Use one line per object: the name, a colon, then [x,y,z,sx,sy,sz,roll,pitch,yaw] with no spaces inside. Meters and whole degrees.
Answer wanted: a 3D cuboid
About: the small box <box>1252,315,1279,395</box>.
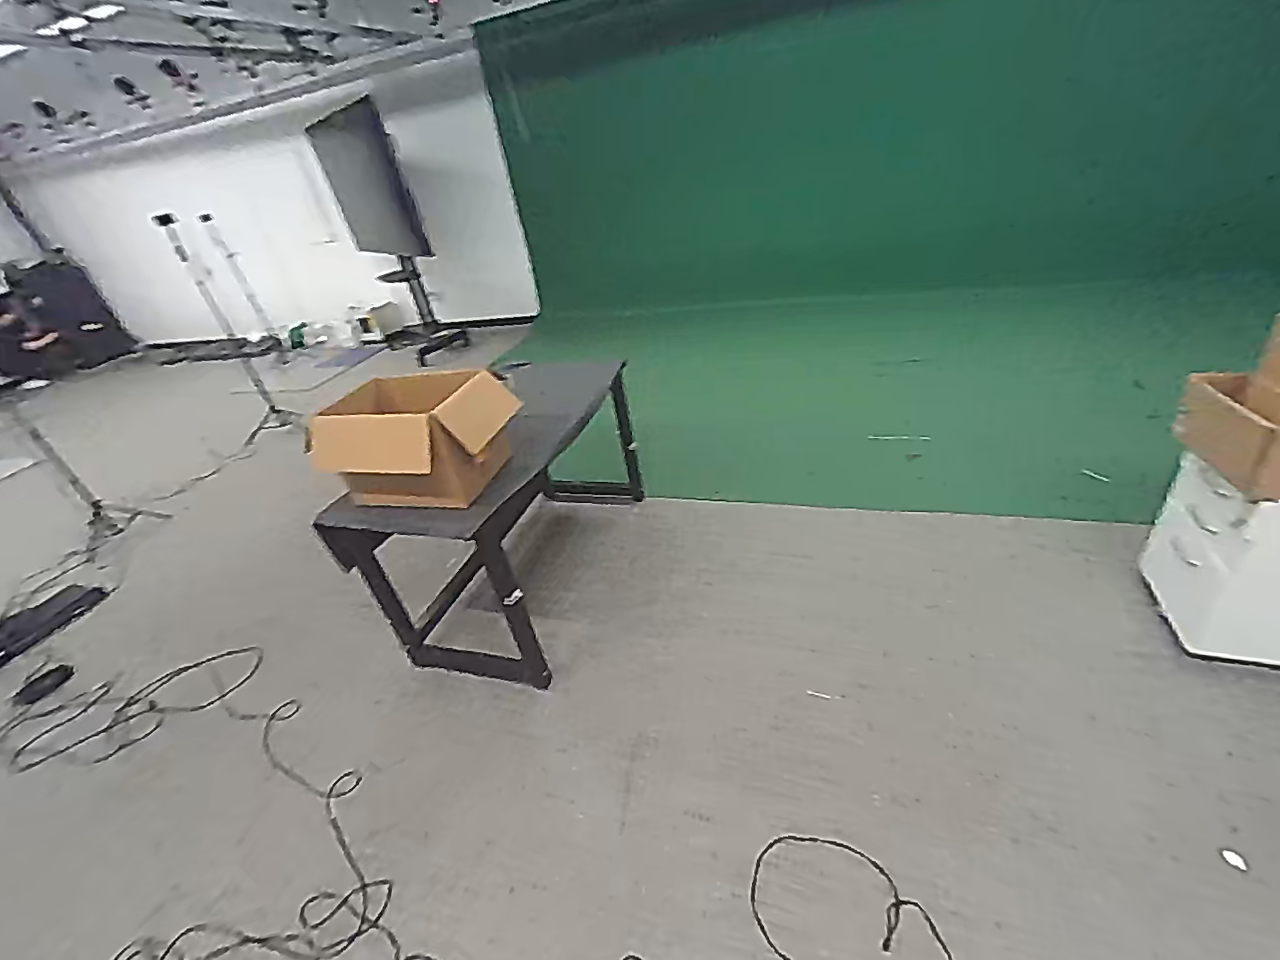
small box: [1.628,-0.291,1.278,0.168,0.176,0.179,2,29,20]
